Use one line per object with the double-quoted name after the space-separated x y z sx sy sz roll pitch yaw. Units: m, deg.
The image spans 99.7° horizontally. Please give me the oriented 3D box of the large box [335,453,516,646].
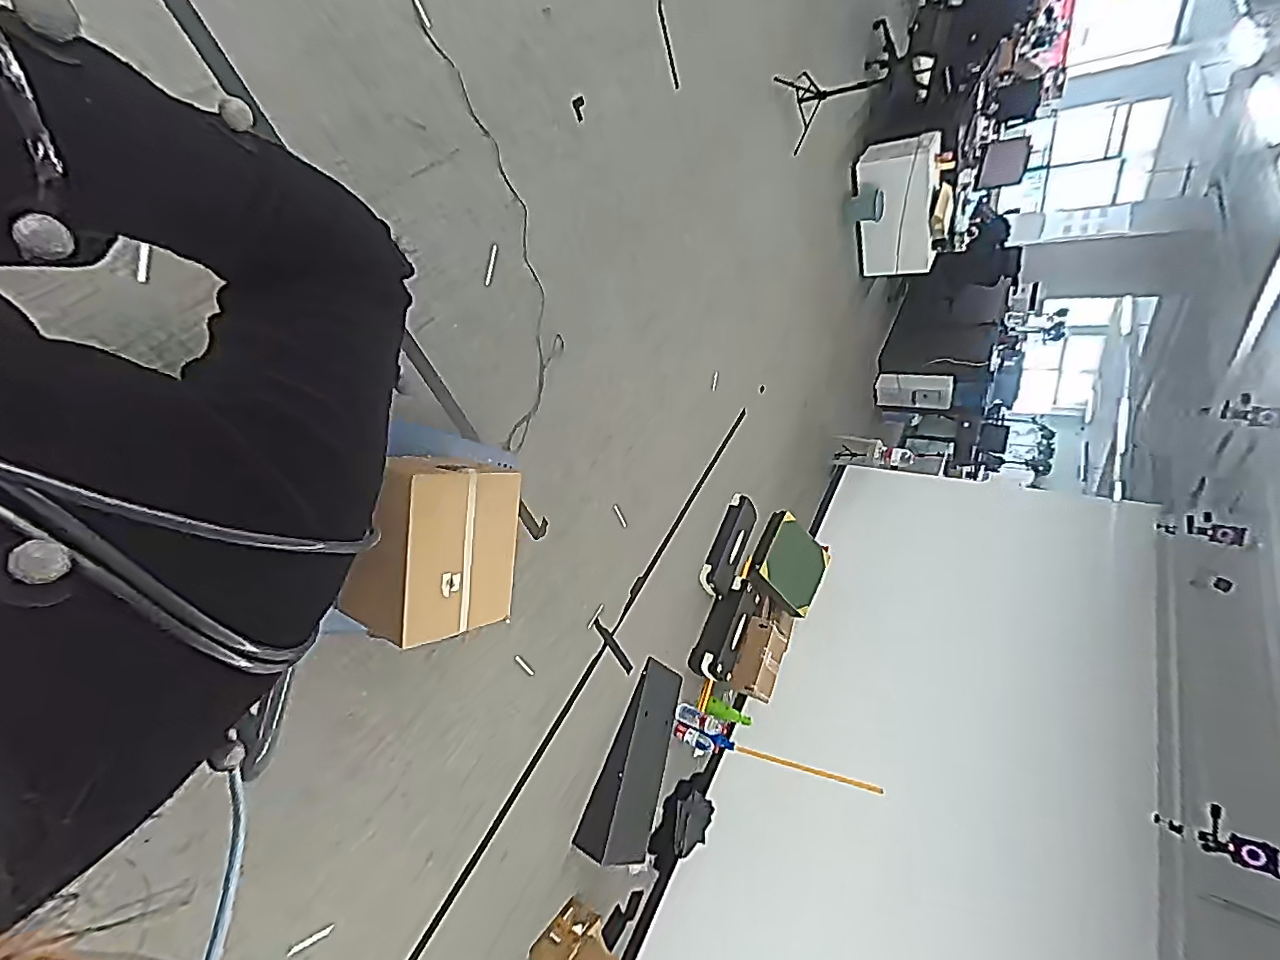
-0.551 0.148 1.387 0.320 0.320 0.408 -2 102 -54 "large box"
